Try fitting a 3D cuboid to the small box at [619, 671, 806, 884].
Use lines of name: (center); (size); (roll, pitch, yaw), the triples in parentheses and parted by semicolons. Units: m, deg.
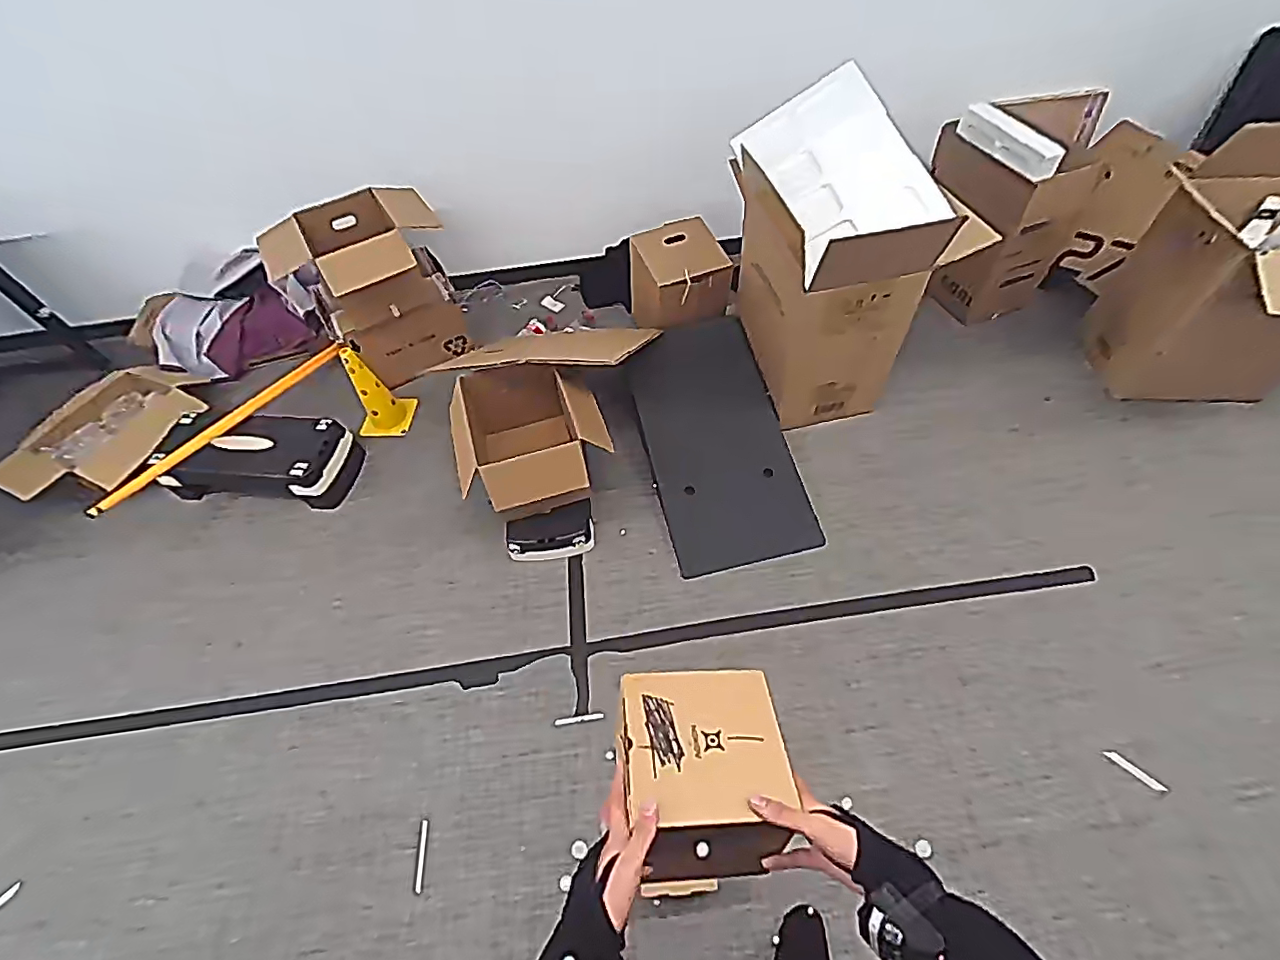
small box: (0.065, 0.343, 0.626); (0.179, 0.176, 0.168); (1, 38, -7)
